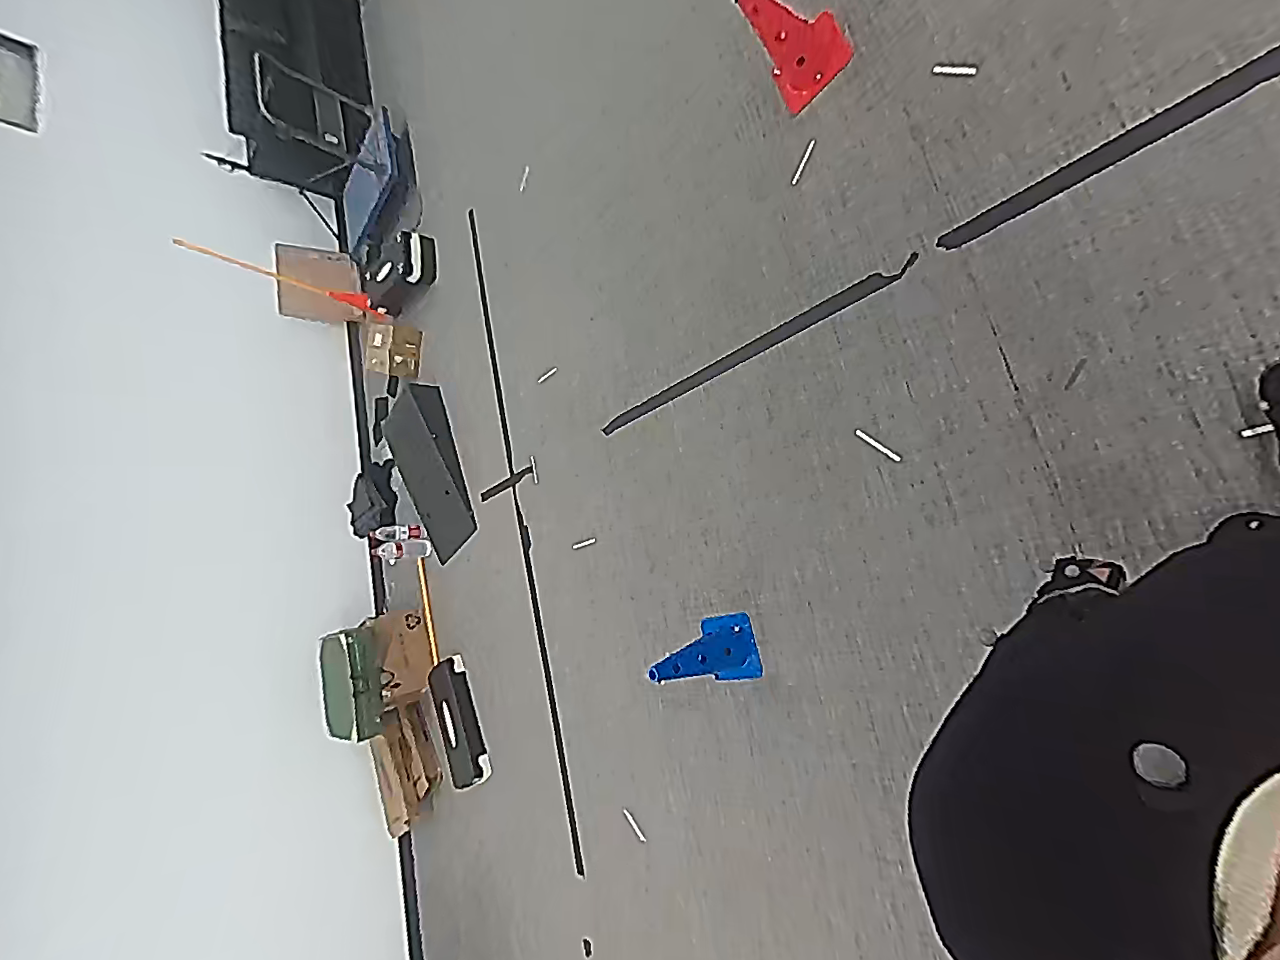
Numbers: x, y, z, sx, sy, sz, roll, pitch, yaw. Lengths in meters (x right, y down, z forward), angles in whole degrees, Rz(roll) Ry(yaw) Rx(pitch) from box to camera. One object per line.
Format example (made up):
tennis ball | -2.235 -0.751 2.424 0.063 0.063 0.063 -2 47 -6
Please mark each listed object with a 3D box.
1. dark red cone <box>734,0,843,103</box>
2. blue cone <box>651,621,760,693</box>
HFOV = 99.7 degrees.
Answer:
dark red cone | 0.333 -1.191 1.393 0.202 0.394 0.201 -33 68 41
blue cone | 0.170 0.549 1.599 0.193 0.380 0.192 -23 75 44
